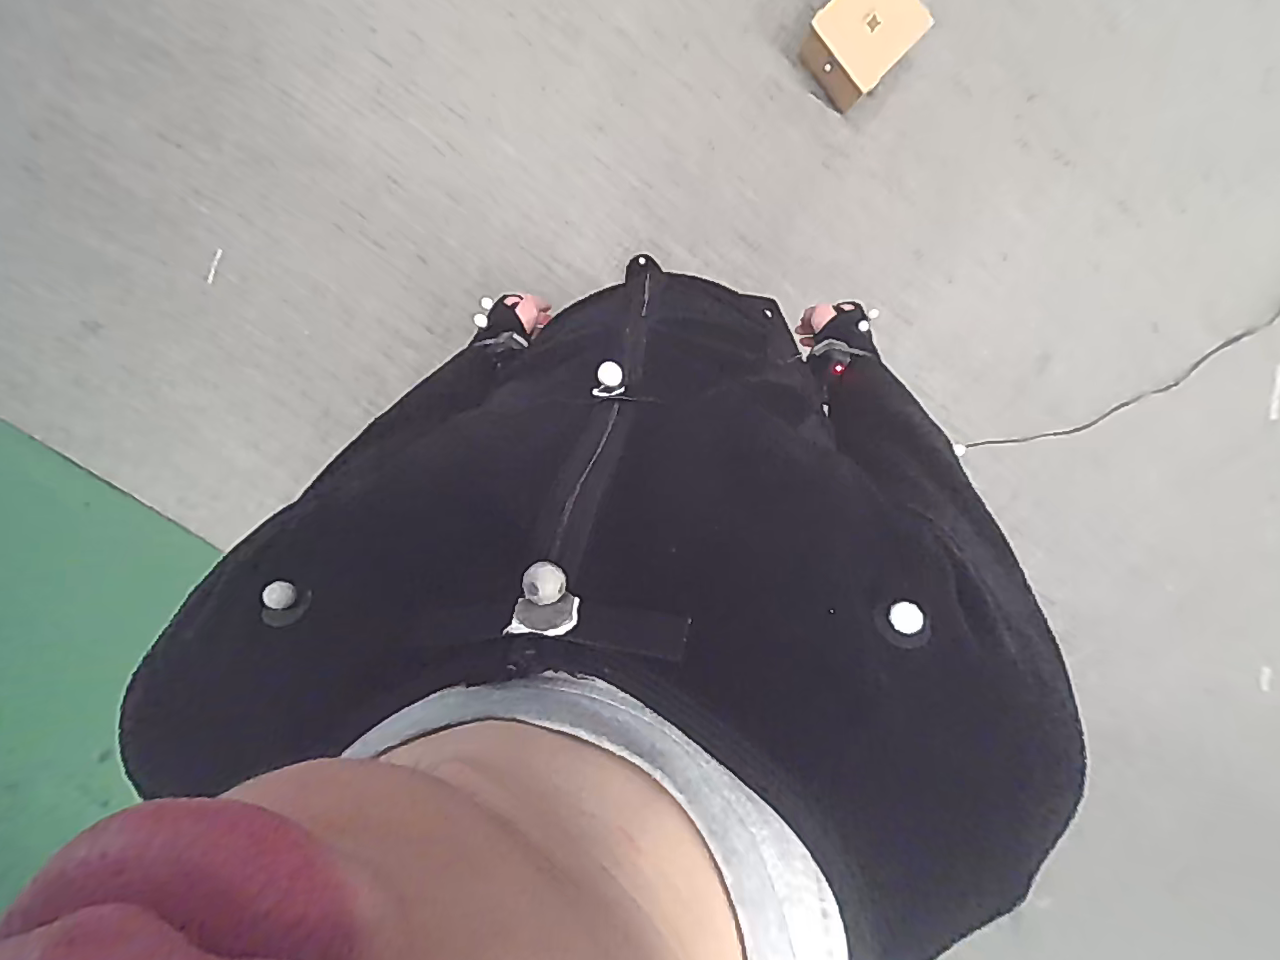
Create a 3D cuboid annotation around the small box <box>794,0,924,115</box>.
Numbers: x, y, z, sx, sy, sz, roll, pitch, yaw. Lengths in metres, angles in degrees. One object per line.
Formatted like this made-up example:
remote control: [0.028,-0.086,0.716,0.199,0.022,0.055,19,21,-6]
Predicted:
small box: [0.452,-0.924,1.148,0.168,0.176,0.179,-41,102,19]
